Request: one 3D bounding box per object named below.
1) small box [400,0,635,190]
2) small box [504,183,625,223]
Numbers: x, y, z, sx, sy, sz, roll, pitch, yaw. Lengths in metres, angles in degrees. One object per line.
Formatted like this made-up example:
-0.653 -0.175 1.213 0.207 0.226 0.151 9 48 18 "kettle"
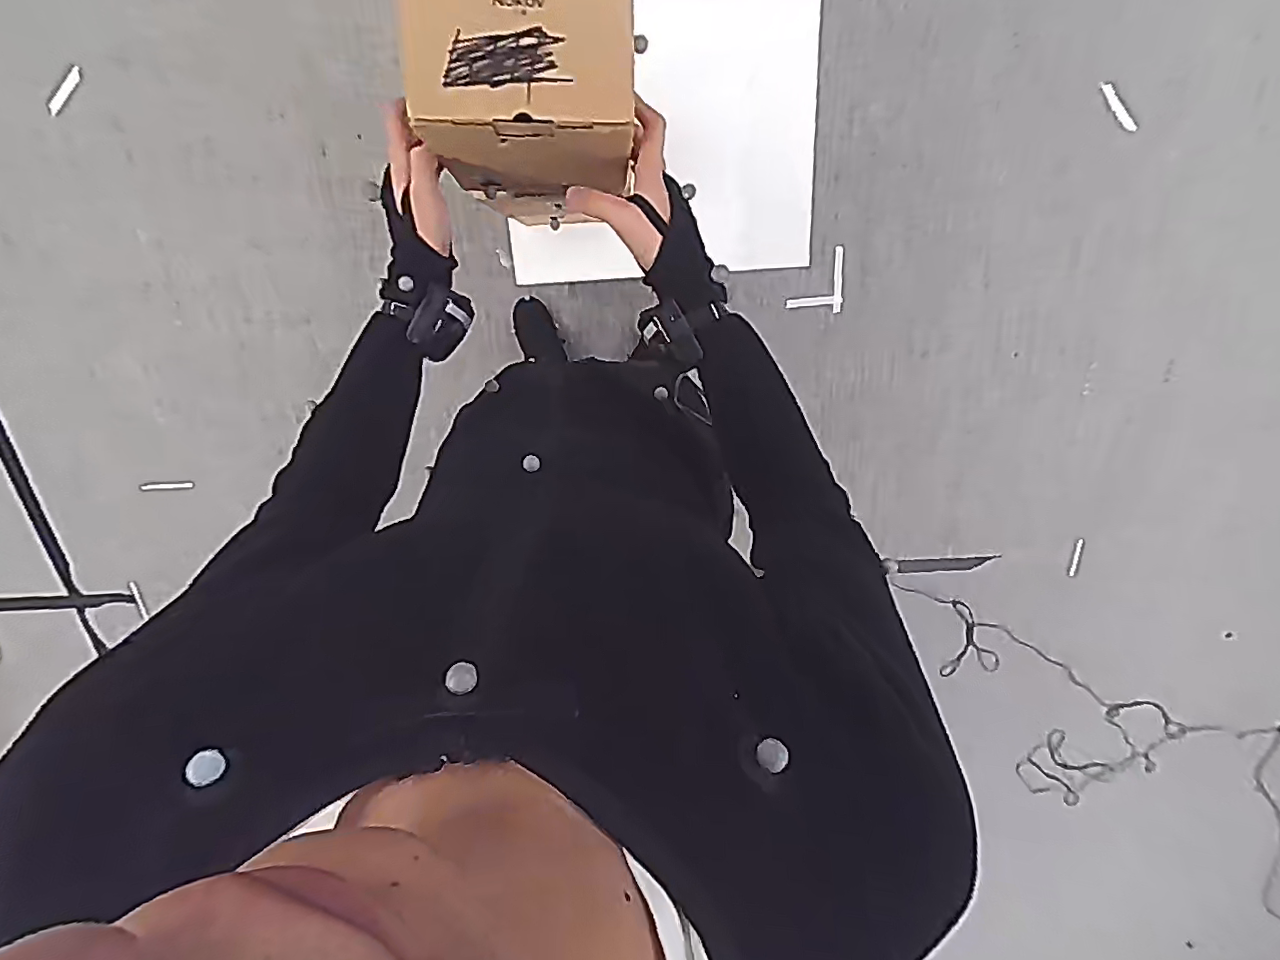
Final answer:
-0.089 -0.358 0.452 0.168 0.176 0.179 -1 103 -4 "small box"
-0.108 -0.478 0.791 0.168 0.176 0.179 -3 110 -1 "small box"
